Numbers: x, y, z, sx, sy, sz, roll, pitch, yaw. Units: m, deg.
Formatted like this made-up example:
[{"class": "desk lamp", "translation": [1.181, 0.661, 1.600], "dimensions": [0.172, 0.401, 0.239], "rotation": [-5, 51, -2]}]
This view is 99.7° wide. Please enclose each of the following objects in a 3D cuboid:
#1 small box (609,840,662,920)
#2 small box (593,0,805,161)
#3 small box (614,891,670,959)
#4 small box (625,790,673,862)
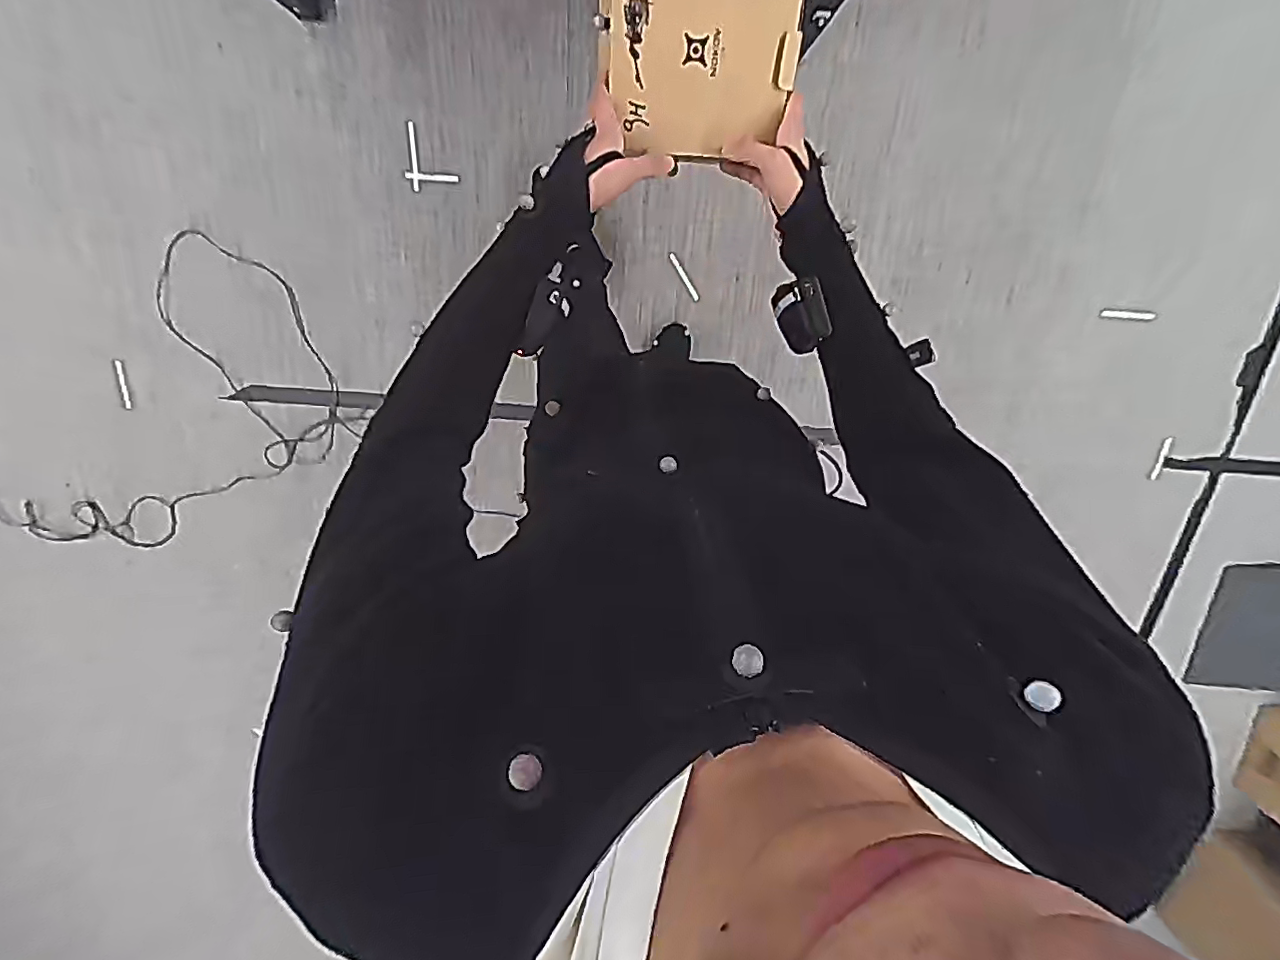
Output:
[{"class": "small box", "translation": [-0.017, 1.435, 1.934], "dimensions": [0.168, 0.176, 0.179], "rotation": [6, 110, -5]}, {"class": "small box", "translation": [0.048, -0.429, 0.553], "dimensions": [0.179, 0.176, 0.168], "rotation": [0, 119, -9]}, {"class": "small box", "translation": [0.003, 1.493, 1.781], "dimensions": [0.179, 0.176, 0.168], "rotation": [-1, 111, -2]}, {"class": "small box", "translation": [0.035, 1.326, 2.069], "dimensions": [0.168, 0.176, 0.179], "rotation": [-7, 110, 1]}]
